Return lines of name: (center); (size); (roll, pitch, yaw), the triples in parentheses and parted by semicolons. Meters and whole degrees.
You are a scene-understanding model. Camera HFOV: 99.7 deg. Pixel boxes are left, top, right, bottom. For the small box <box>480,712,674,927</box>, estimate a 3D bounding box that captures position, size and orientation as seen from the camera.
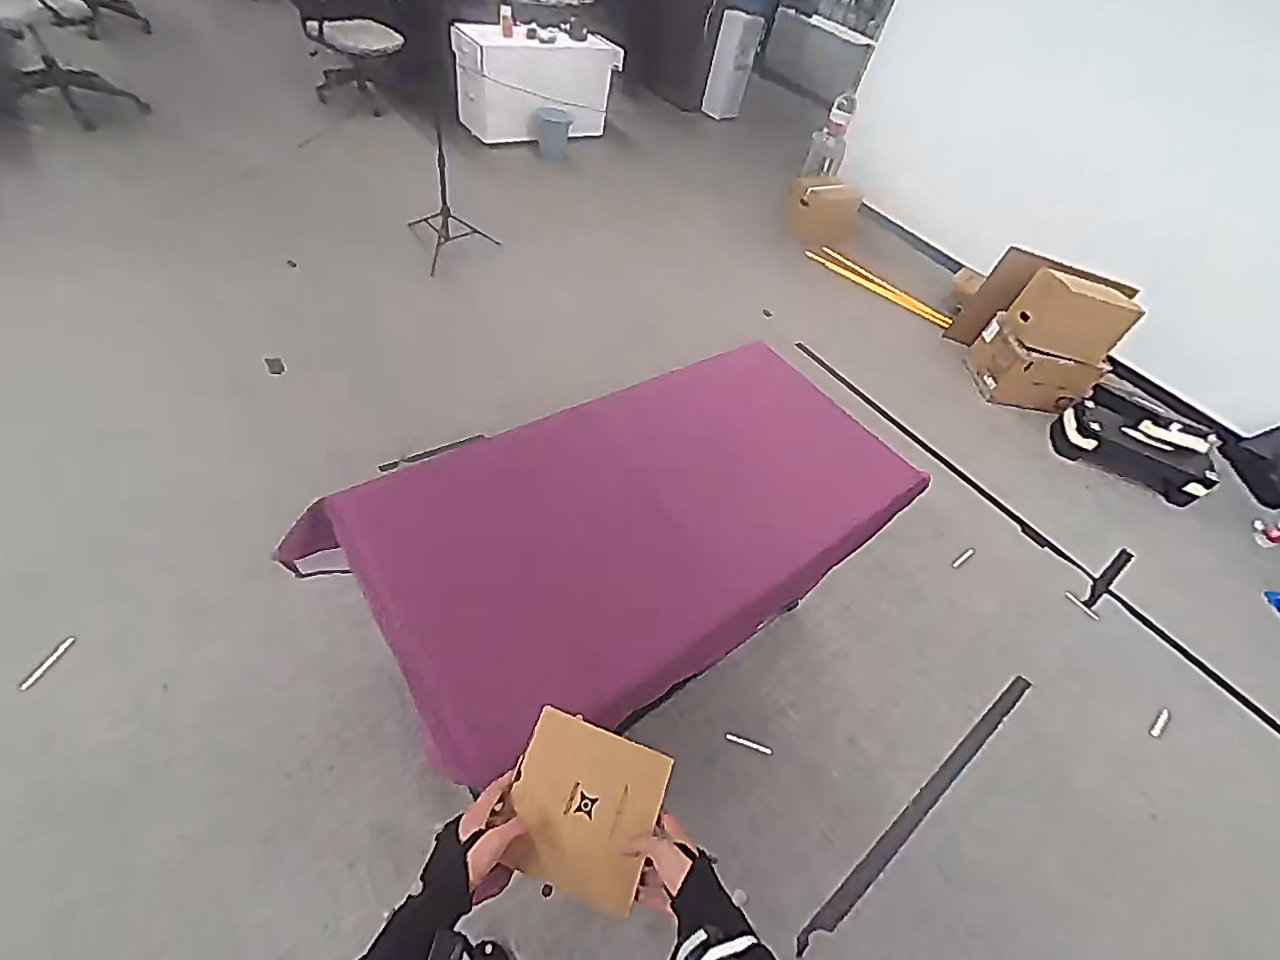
small box: (-0.074, 0.421, 0.684); (0.179, 0.176, 0.168); (21, 58, 6)
